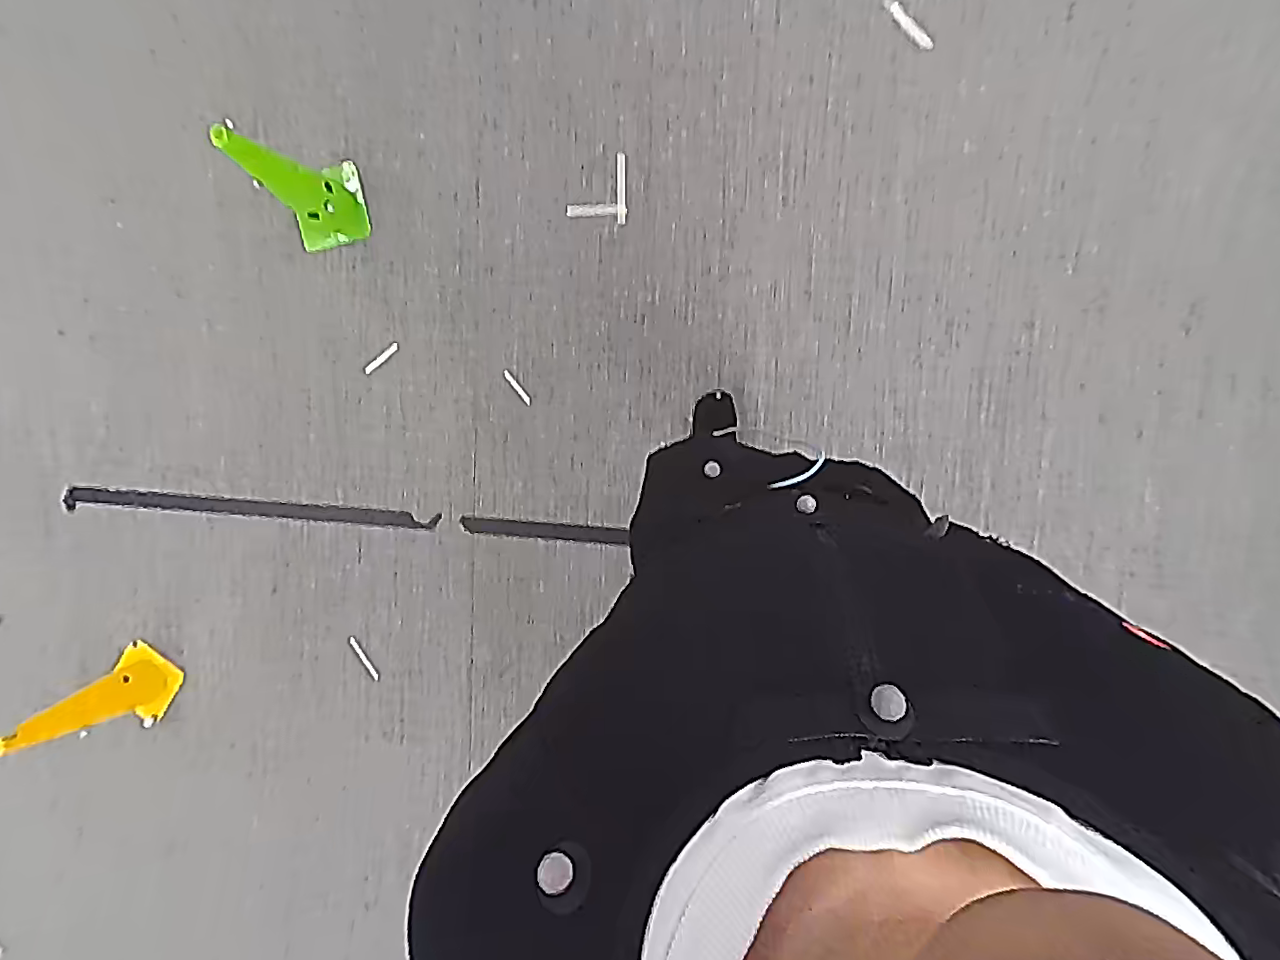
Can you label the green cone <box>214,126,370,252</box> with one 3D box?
[{"bbox_3d":[-0.864,-0.728,1.309,0.202,0.368,0.200,-13,93,5],"label":"green cone"}]
